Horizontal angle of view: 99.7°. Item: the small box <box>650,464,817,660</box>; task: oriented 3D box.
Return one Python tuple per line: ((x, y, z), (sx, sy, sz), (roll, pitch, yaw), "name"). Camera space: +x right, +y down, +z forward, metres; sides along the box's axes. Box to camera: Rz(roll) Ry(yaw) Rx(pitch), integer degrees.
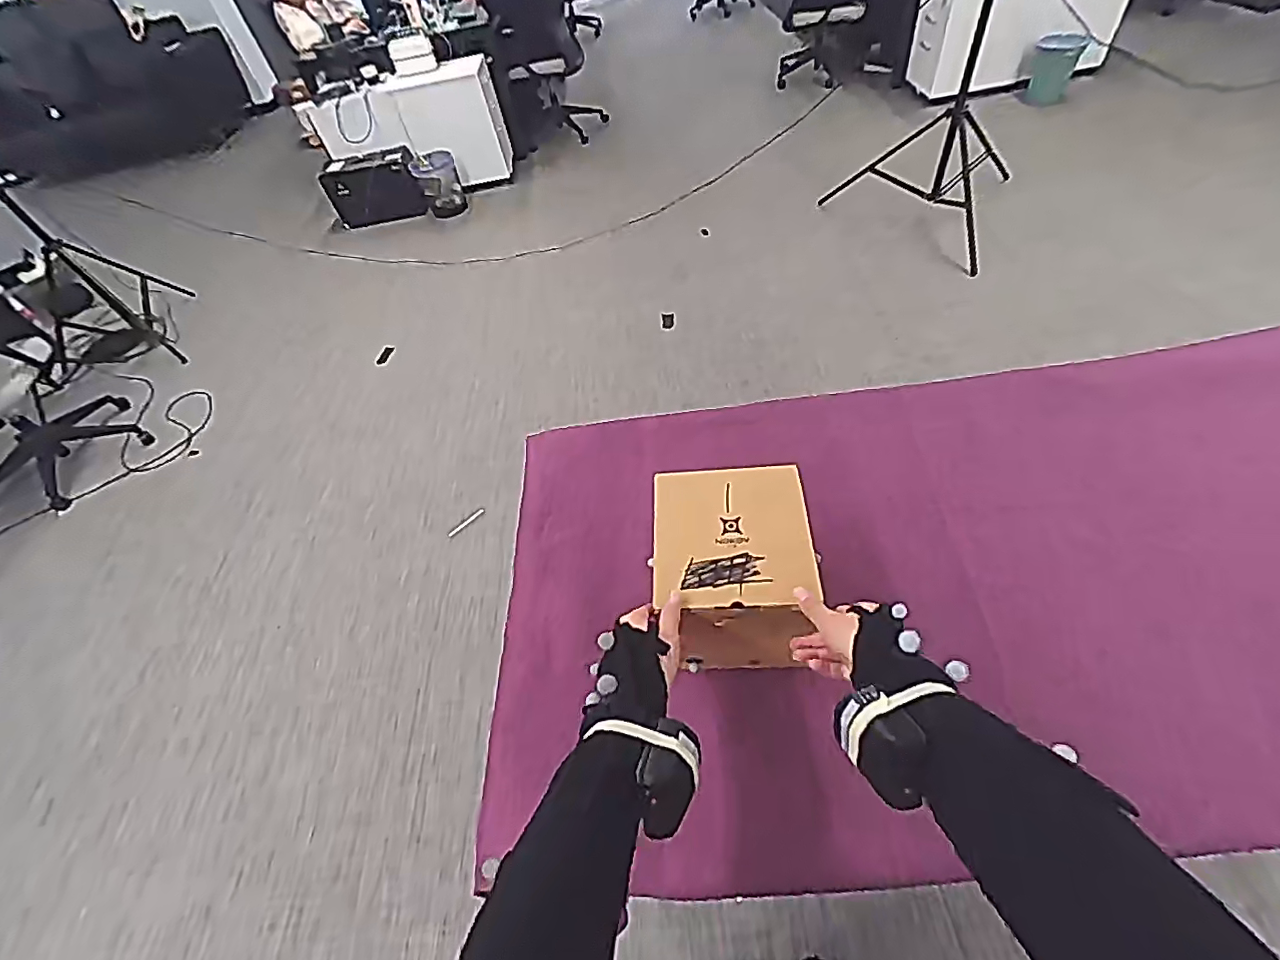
((0.105, 0.104, 0.639), (0.168, 0.176, 0.179), (-3, 51, 7), "small box")
